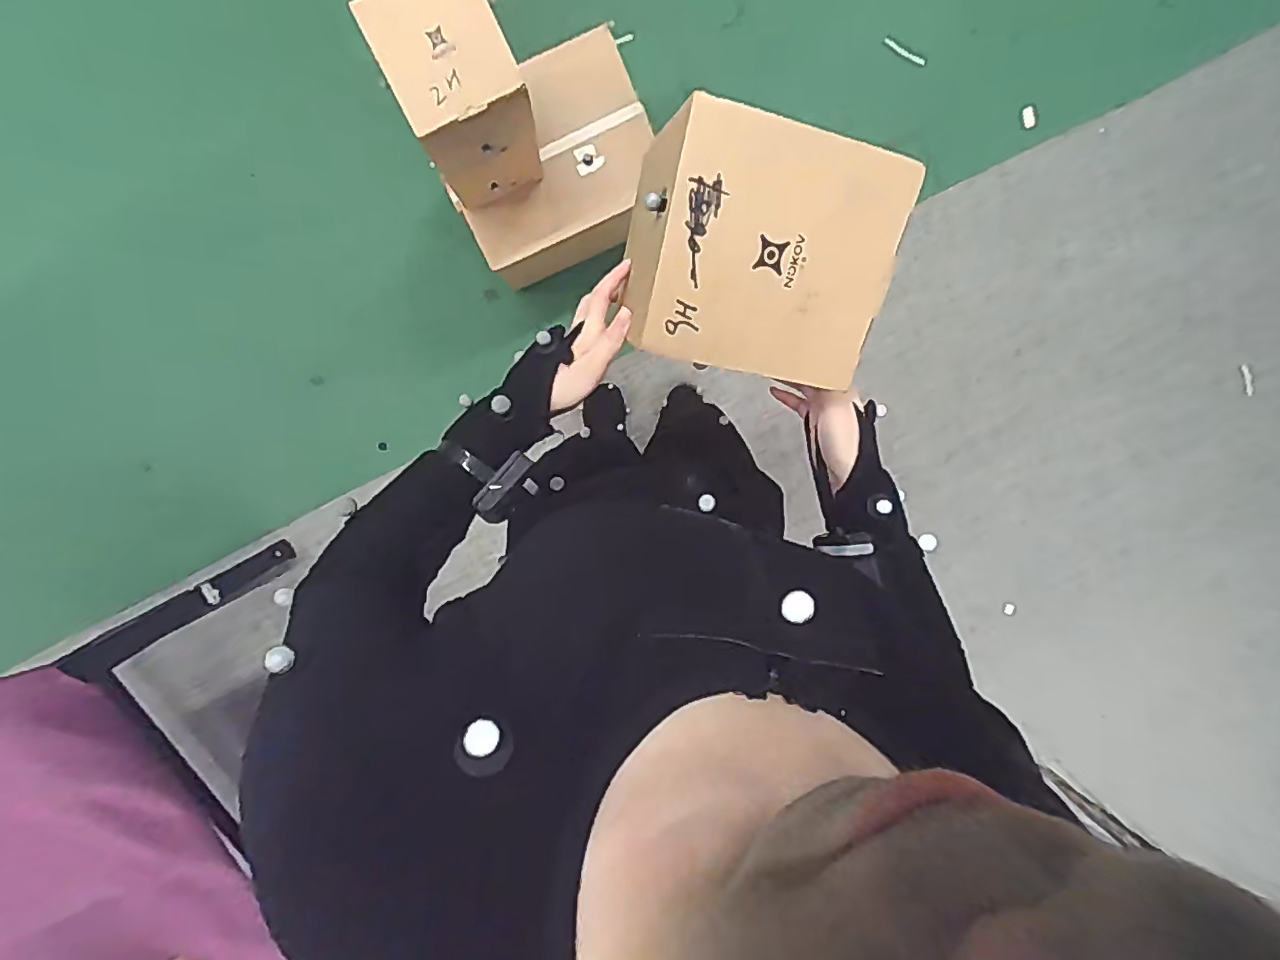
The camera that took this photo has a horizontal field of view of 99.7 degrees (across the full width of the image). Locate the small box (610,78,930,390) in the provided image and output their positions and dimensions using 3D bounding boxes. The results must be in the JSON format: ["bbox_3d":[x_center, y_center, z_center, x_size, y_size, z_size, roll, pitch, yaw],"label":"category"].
[{"bbox_3d":[0.084,-0.185,0.446,0.179,0.176,0.168,9,108,-14],"label":"small box"}]

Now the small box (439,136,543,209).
[{"bbox_3d":[-0.283,-0.609,0.940,0.168,0.176,0.179,-25,102,0],"label":"small box"}]

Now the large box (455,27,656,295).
[{"bbox_3d":[-0.186,-0.655,1.187,0.408,0.320,0.320,-25,103,0],"label":"large box"}]

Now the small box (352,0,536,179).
[{"bbox_3d":[-0.266,-0.578,0.779,0.168,0.176,0.179,-26,102,0],"label":"small box"}]
